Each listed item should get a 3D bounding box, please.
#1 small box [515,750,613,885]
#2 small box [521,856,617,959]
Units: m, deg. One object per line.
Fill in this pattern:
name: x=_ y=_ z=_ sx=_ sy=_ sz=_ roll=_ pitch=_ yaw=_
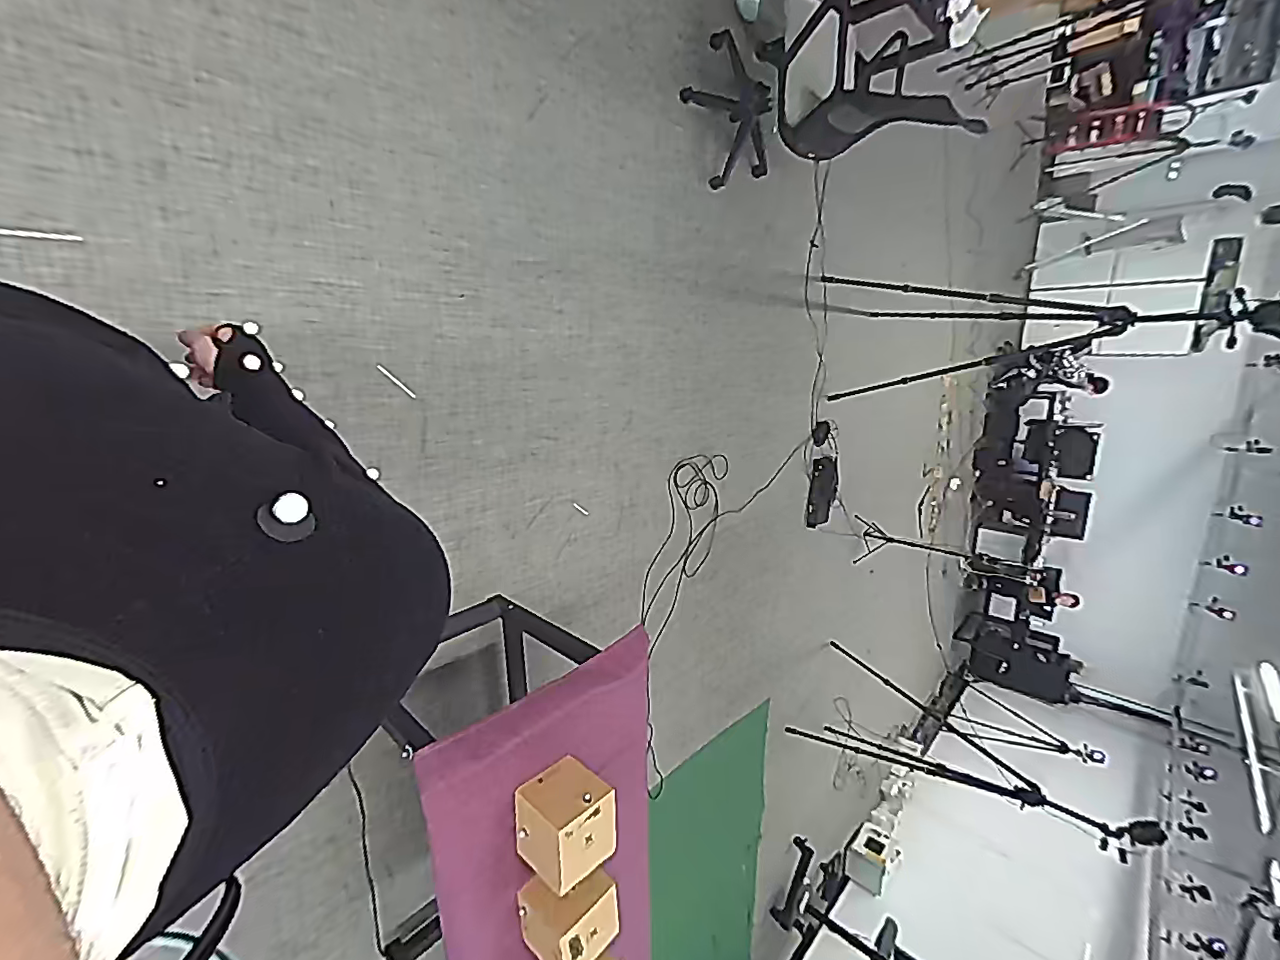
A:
small box: x=-0.181 y=0.785 z=1.279 sx=0.168 sy=0.176 sz=0.179 roll=-13 pitch=109 yaw=-46
small box: x=-0.181 y=1.045 z=1.342 sx=0.179 sy=0.176 sz=0.168 roll=-20 pitch=113 yaw=-45
